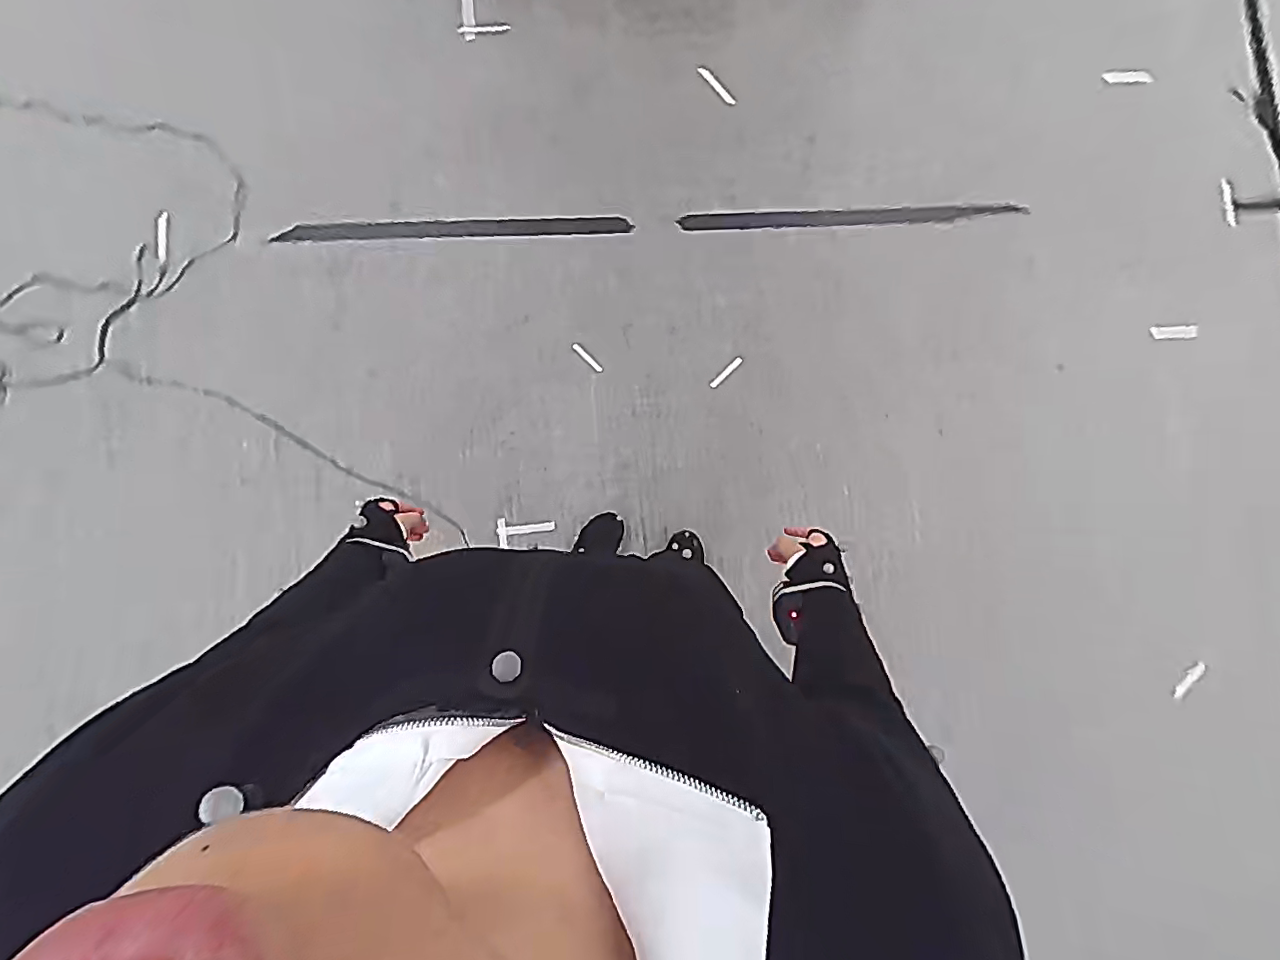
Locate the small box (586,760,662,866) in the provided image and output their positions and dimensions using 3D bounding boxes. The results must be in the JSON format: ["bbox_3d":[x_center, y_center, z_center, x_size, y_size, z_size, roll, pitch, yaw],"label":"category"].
[{"bbox_3d":[-0.042,0.787,1.283,0.168,0.176,0.179,-3,86,-5],"label":"small box"}]
